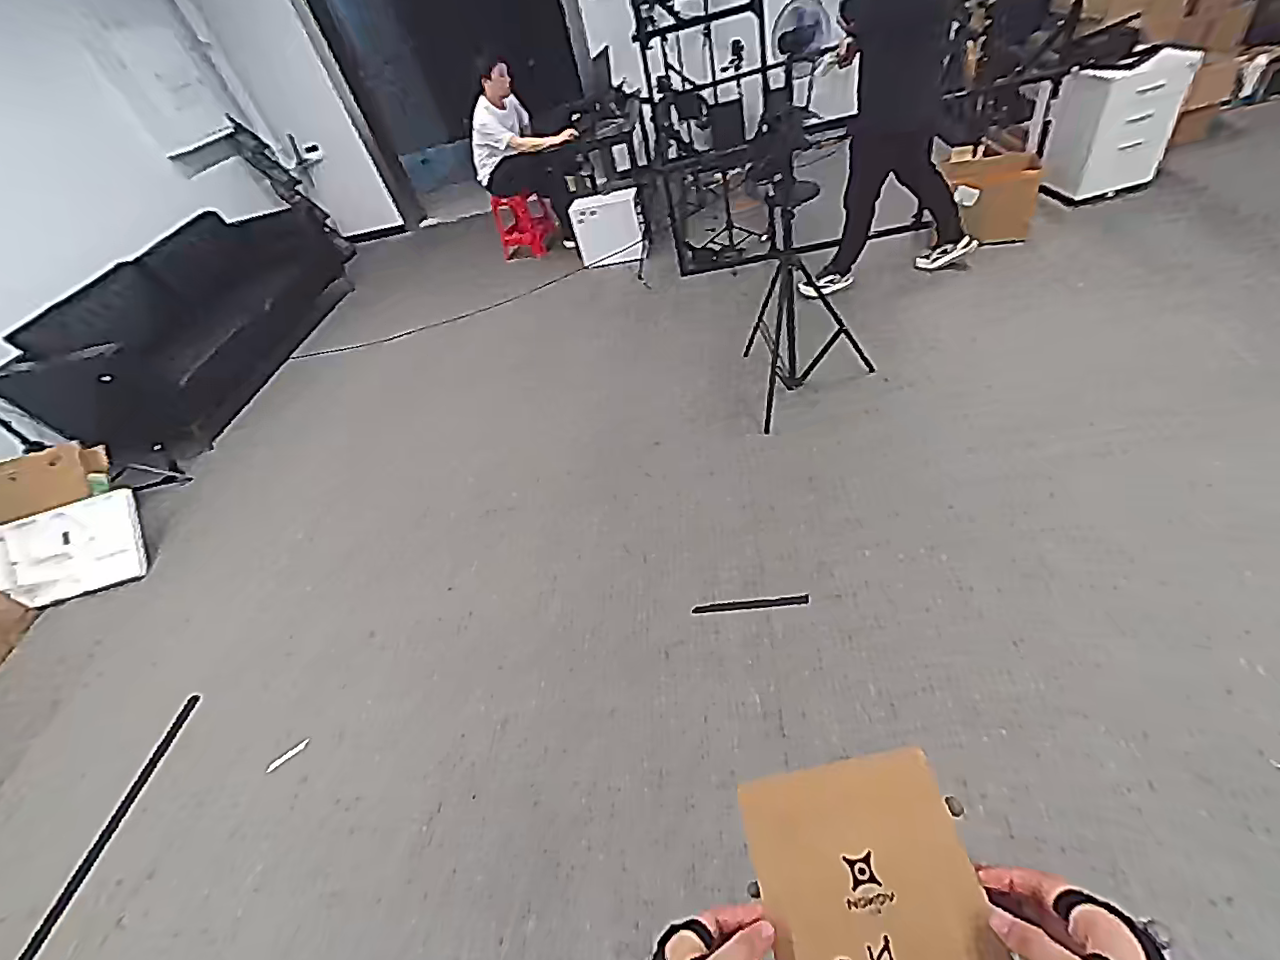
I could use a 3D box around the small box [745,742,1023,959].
[{"bbox_3d":[0.202,0.358,0.476,0.168,0.176,0.179,-18,49,9],"label":"small box"}]
